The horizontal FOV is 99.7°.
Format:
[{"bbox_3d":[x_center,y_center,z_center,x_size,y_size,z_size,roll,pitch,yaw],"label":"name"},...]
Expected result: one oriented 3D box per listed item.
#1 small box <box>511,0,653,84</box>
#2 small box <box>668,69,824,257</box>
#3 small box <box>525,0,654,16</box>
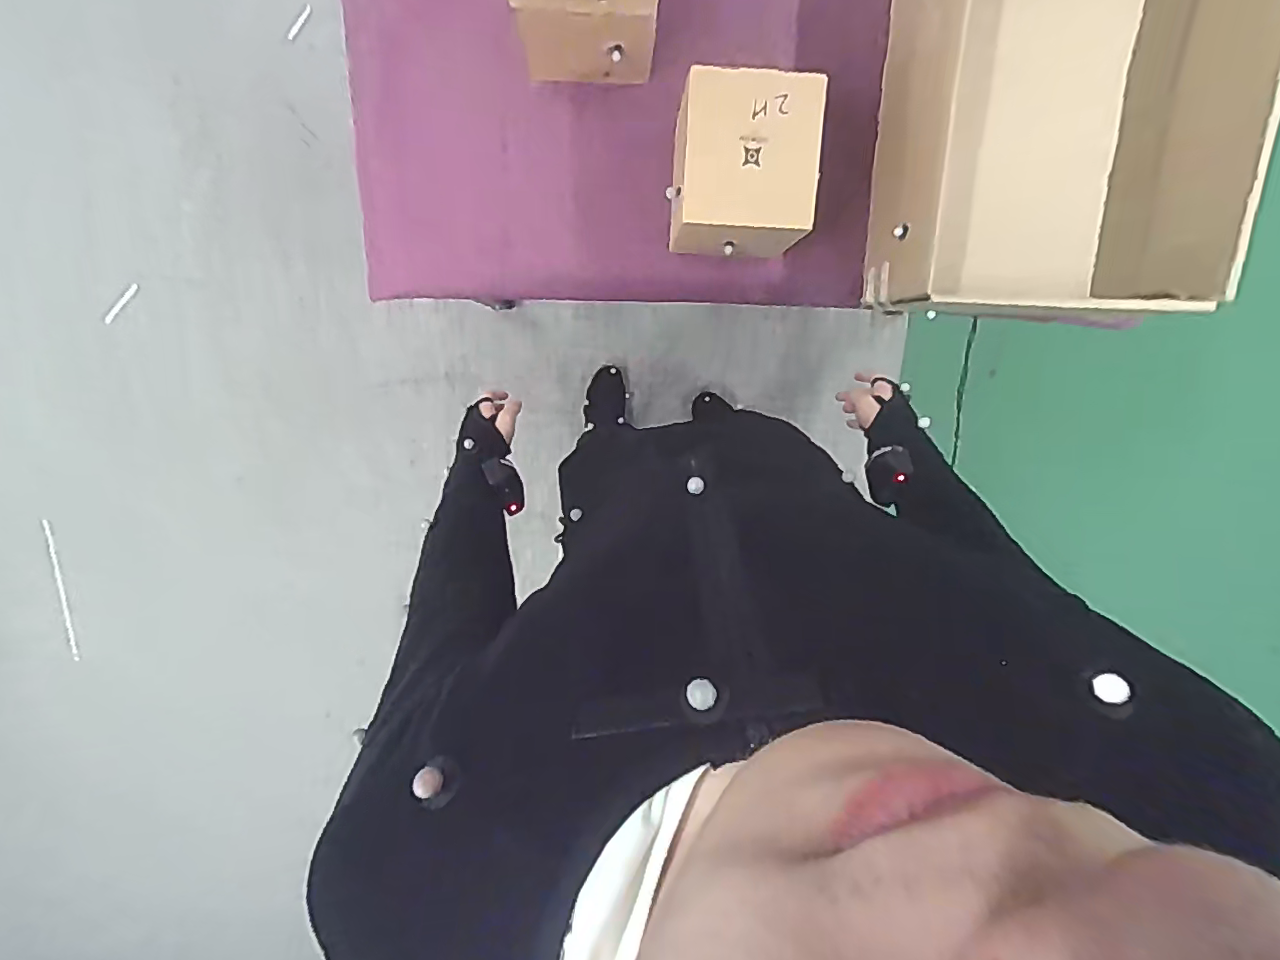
[{"bbox_3d":[-0.065,-0.634,0.678,0.168,0.176,0.179,1,102,-3],"label":"small box"},{"bbox_3d":[0.129,-0.409,0.730,0.168,0.176,0.179,2,101,-3],"label":"small box"},{"bbox_3d":[-0.060,-0.596,0.521,0.168,0.176,0.179,1,102,-3],"label":"small box"}]
